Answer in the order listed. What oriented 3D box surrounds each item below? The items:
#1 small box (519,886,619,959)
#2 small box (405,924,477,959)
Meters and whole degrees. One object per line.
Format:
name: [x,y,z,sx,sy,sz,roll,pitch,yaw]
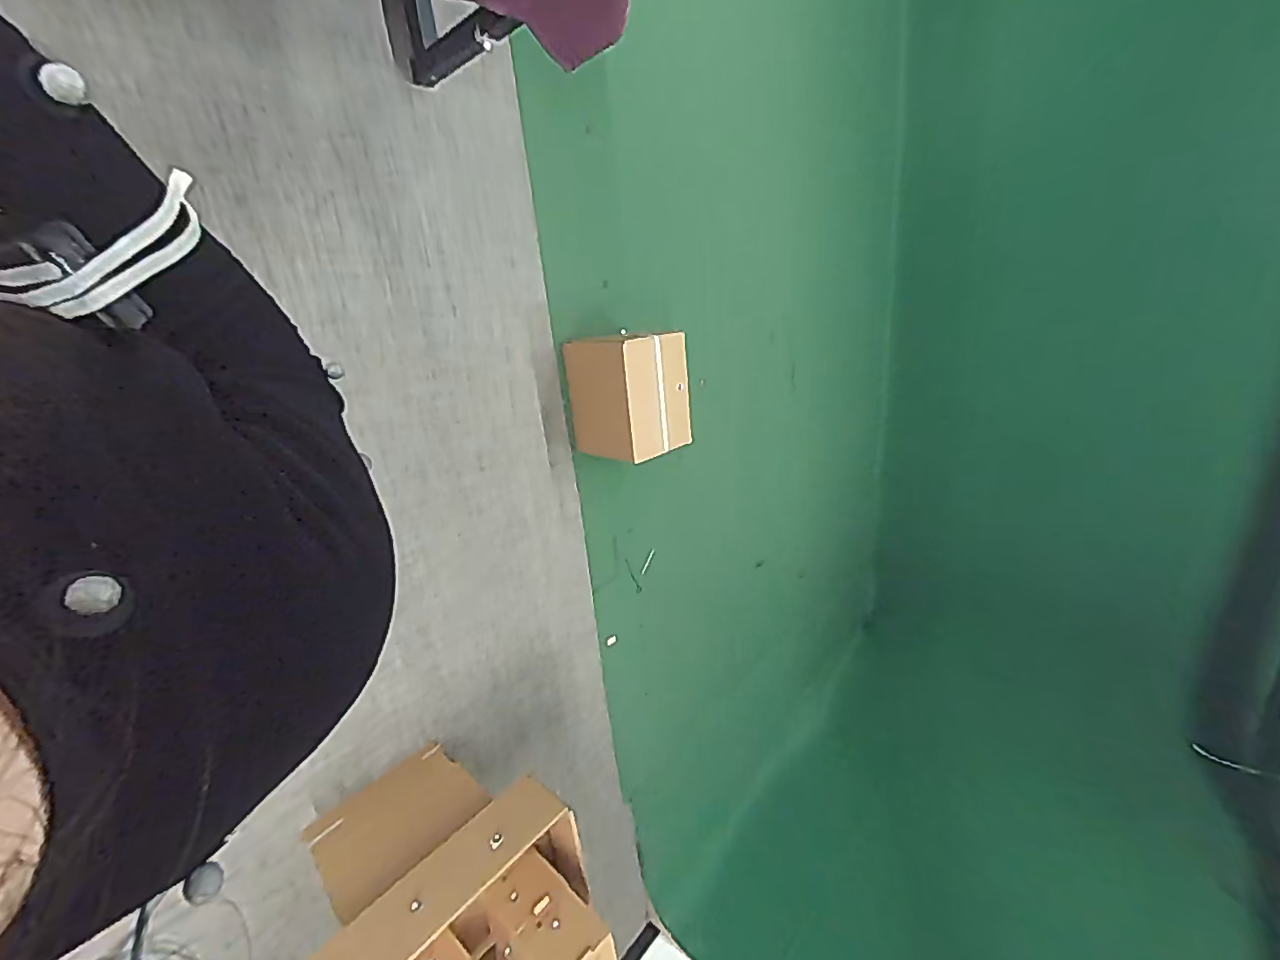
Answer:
small box: [-0.170,1.152,1.314,0.168,0.176,0.179,-25,117,-41]
small box: [-0.458,1.202,1.260,0.168,0.176,0.179,-27,118,-42]
